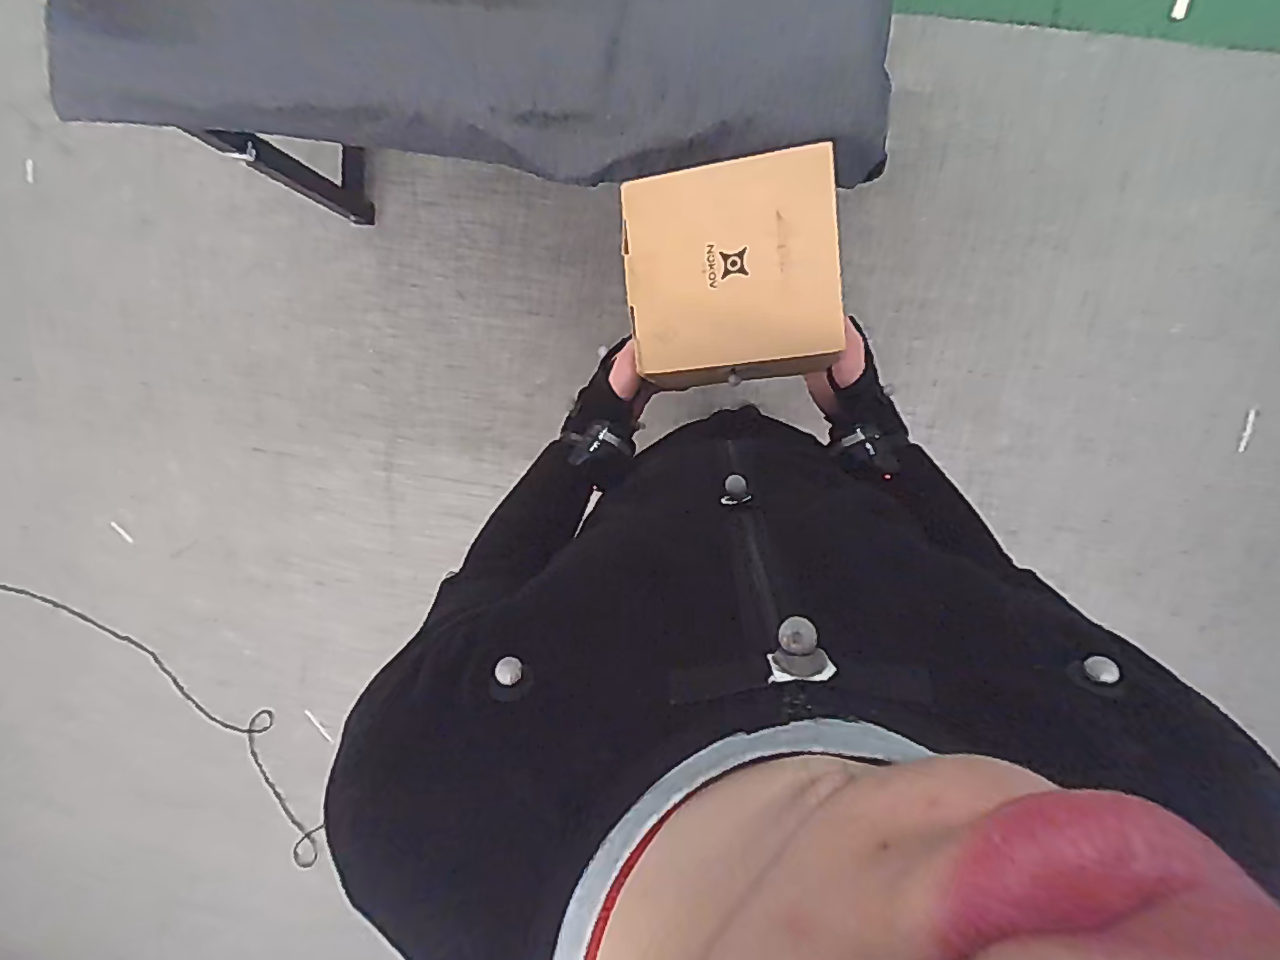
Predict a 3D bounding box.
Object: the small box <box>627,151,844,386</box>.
[{"bbox_3d":[0.095,-0.189,0.540,0.179,0.176,0.168,-5,95,11],"label":"small box"}]
